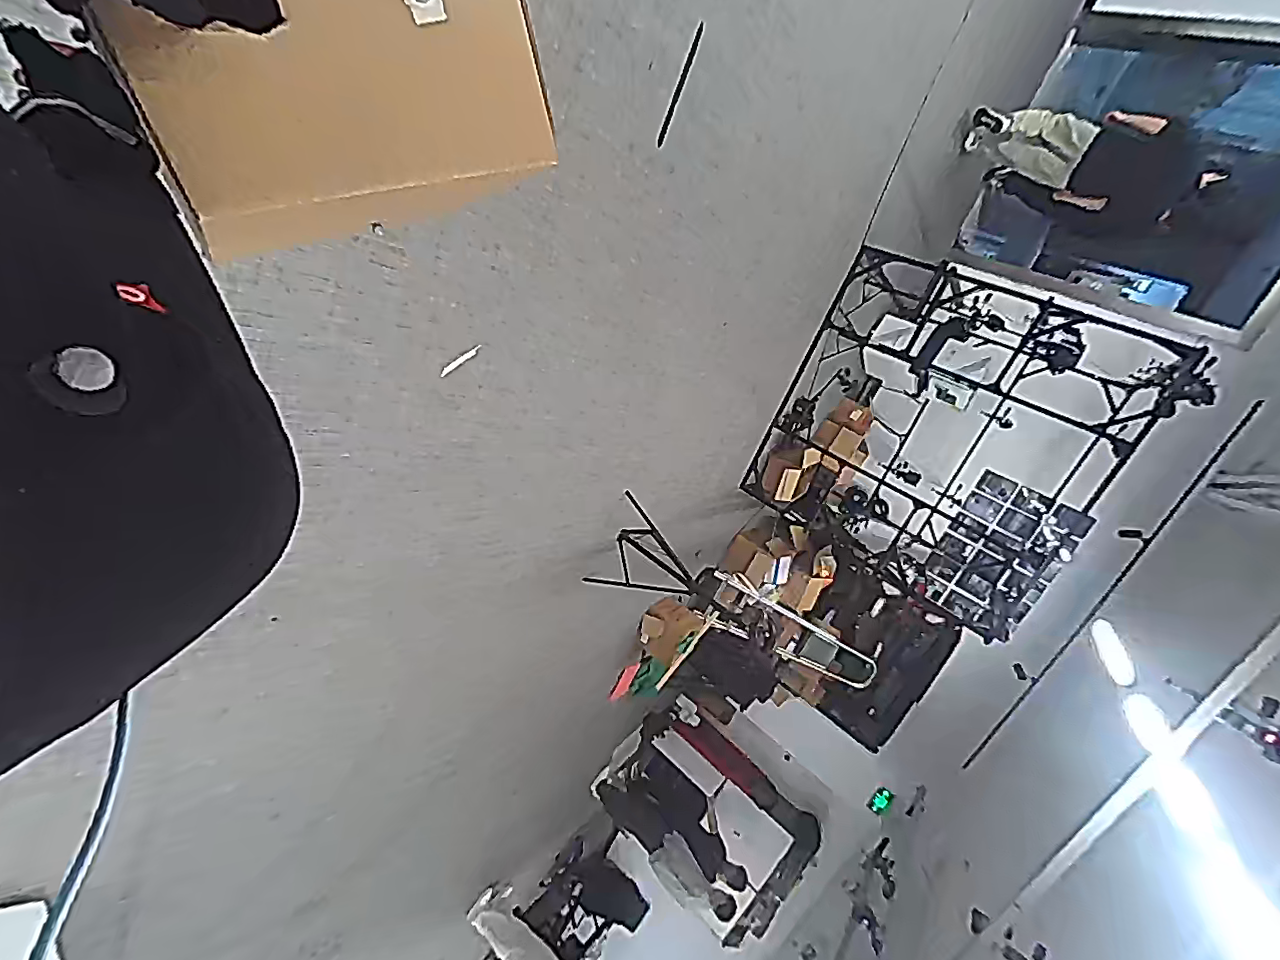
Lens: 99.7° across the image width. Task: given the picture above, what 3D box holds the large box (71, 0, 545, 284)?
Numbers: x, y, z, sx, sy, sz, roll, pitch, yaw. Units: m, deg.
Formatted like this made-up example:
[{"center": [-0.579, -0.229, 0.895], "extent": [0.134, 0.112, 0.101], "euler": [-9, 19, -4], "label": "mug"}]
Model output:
[{"center": [-0.353, -0.418, 0.571], "extent": [0.320, 0.408, 0.320], "euler": [-27, 117, -28], "label": "large box"}]
